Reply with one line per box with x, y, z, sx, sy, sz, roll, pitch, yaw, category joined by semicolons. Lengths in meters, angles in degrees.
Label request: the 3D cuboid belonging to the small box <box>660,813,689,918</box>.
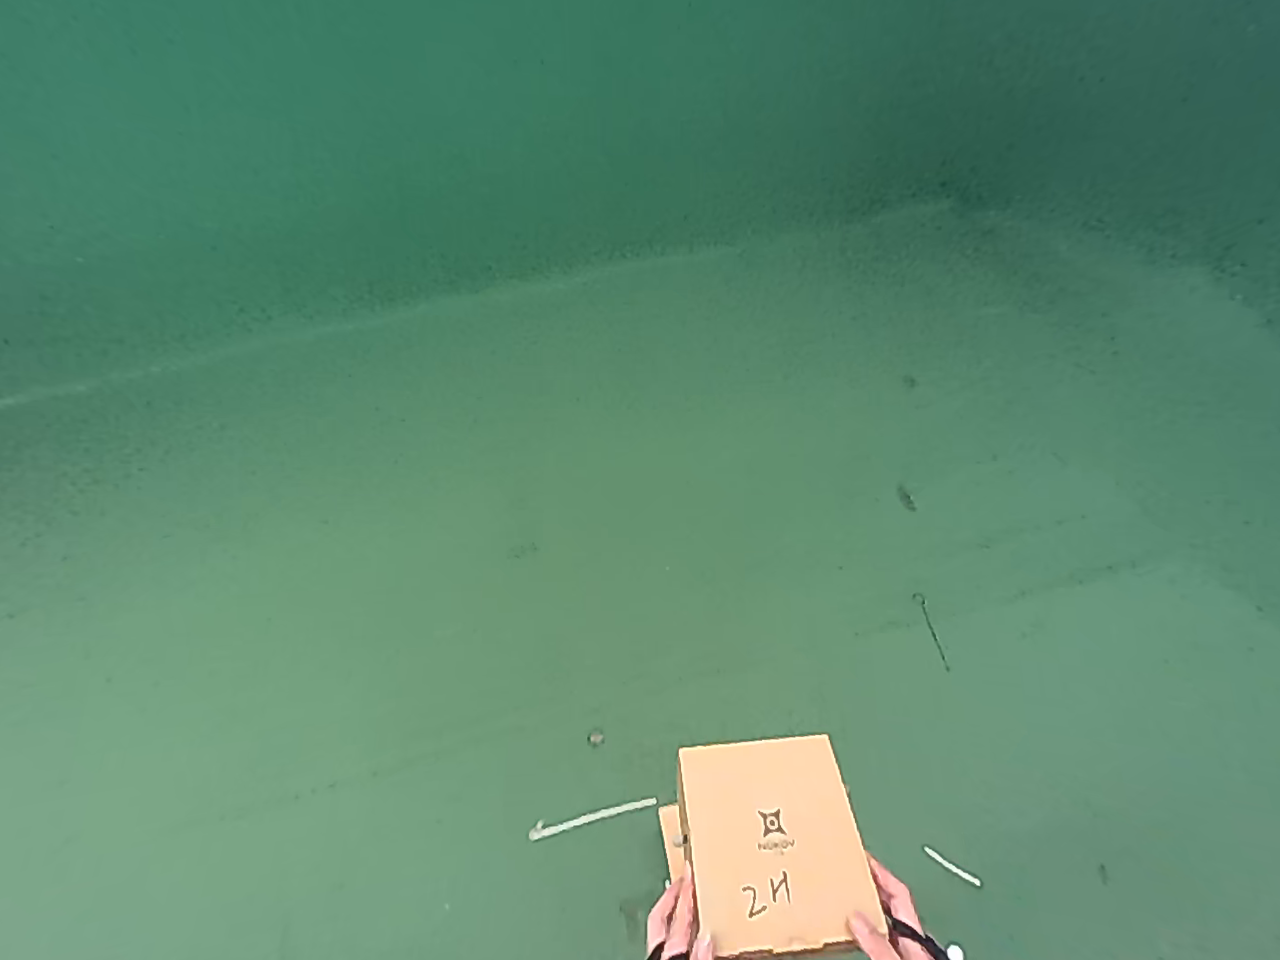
0.139;0.833;1.183;0.168;0.176;0.179;-11;51;-4;small box

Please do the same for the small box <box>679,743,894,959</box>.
0.131;0.403;0.570;0.168;0.176;0.179;-5;45;-1;small box
